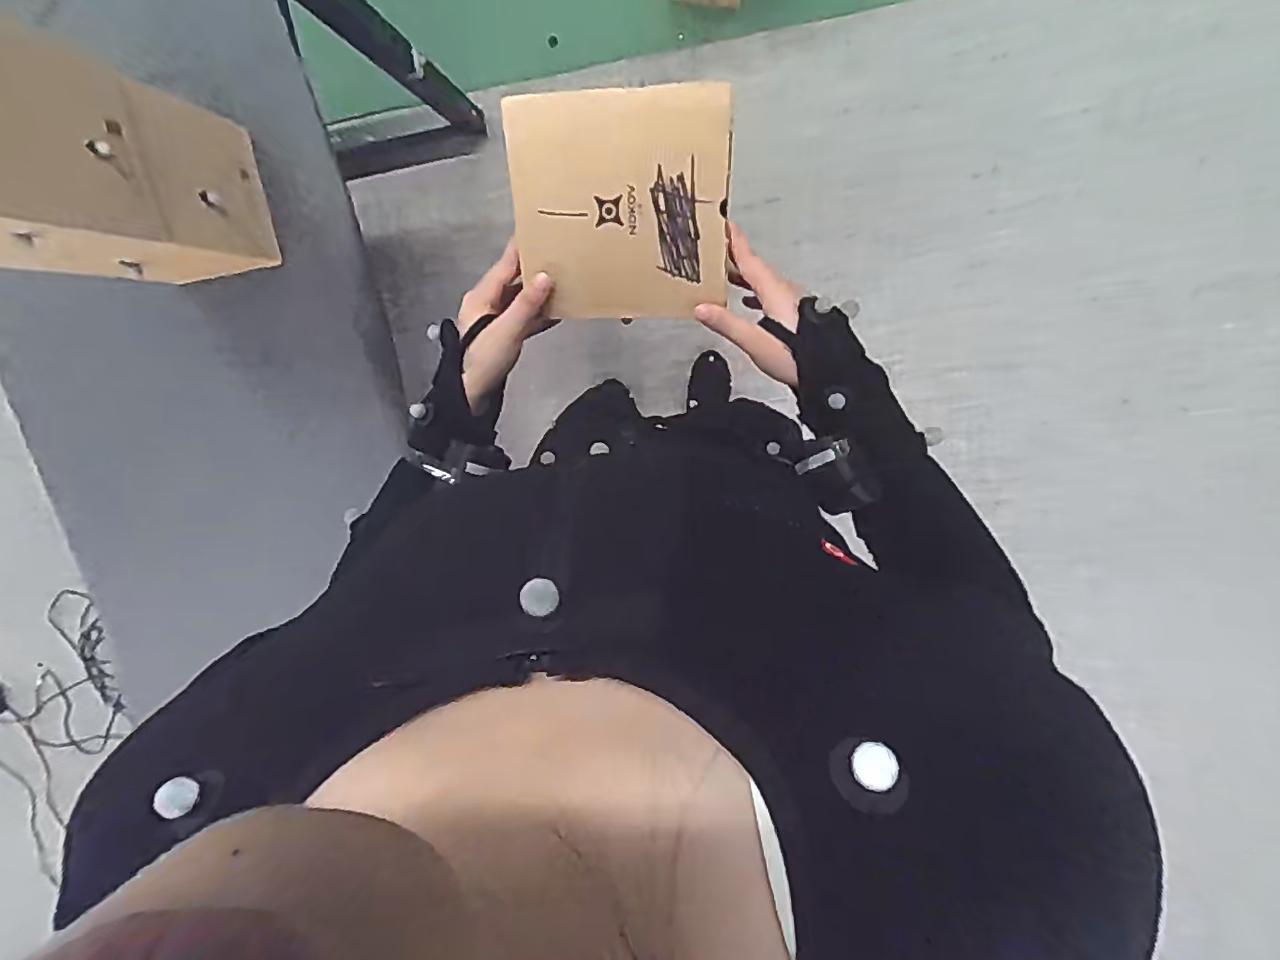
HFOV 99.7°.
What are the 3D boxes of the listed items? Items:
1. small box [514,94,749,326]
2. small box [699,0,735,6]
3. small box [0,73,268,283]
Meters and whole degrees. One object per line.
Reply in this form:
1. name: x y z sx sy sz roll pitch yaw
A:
1. small box: 0.000 -0.240 0.499 0.179 0.176 0.168 2 115 6
2. small box: 0.133 -1.111 1.094 0.168 0.176 0.179 10 106 4
3. small box: -0.581 -0.333 0.634 0.179 0.176 0.168 -5 104 10
